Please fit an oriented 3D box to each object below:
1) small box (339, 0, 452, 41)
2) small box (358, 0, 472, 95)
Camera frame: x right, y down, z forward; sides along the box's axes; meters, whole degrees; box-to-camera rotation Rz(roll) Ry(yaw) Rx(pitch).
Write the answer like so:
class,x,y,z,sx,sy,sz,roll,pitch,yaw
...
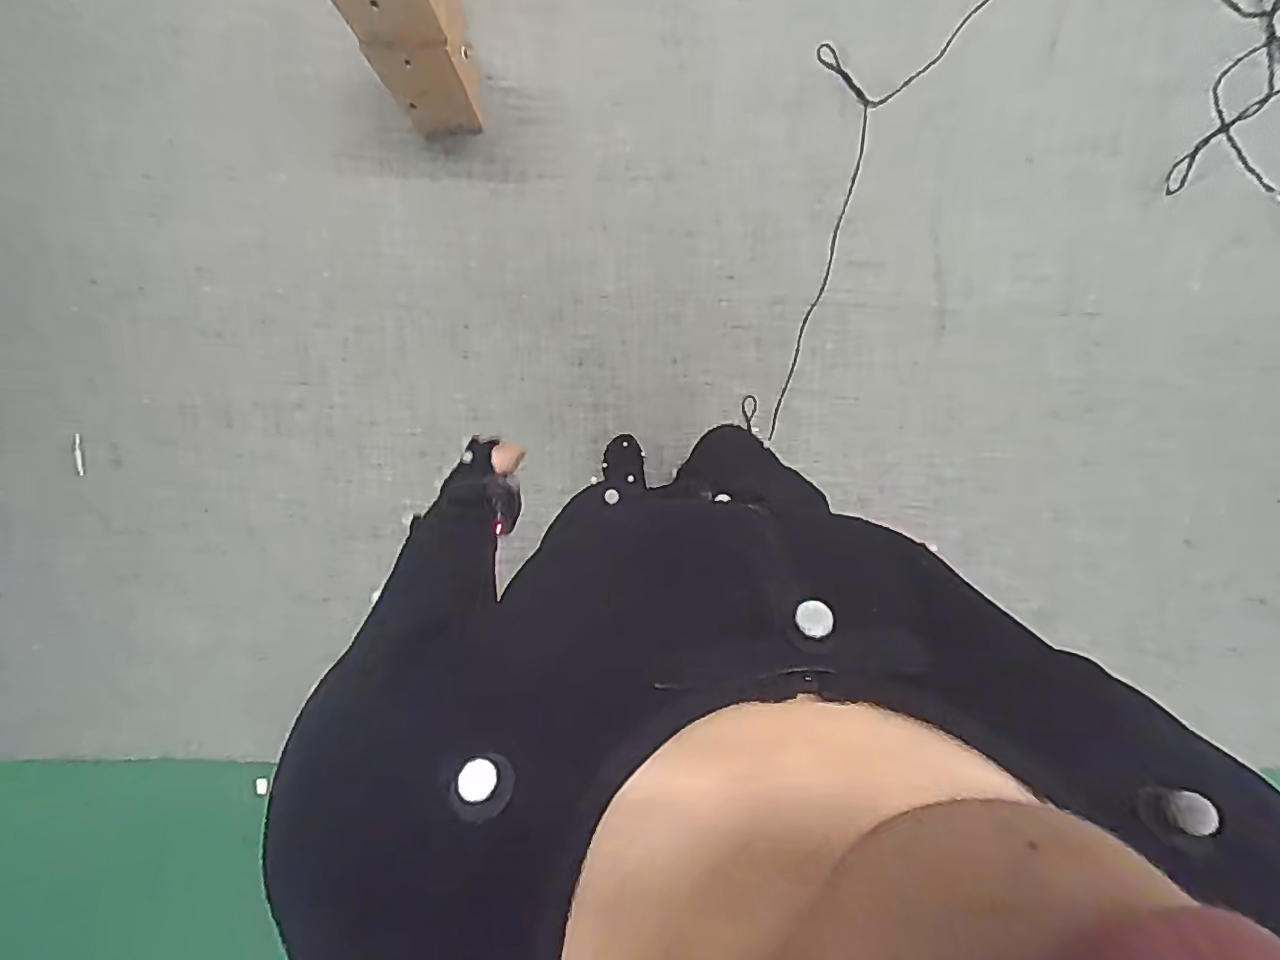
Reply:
class,x,y,z,sx,sy,sz,roll,pitch,yaw
small box,-0.447,-0.914,0.949,0.179,0.176,0.168,0,98,-1
small box,-0.458,-0.926,1.113,0.179,0.176,0.168,-1,98,-3
